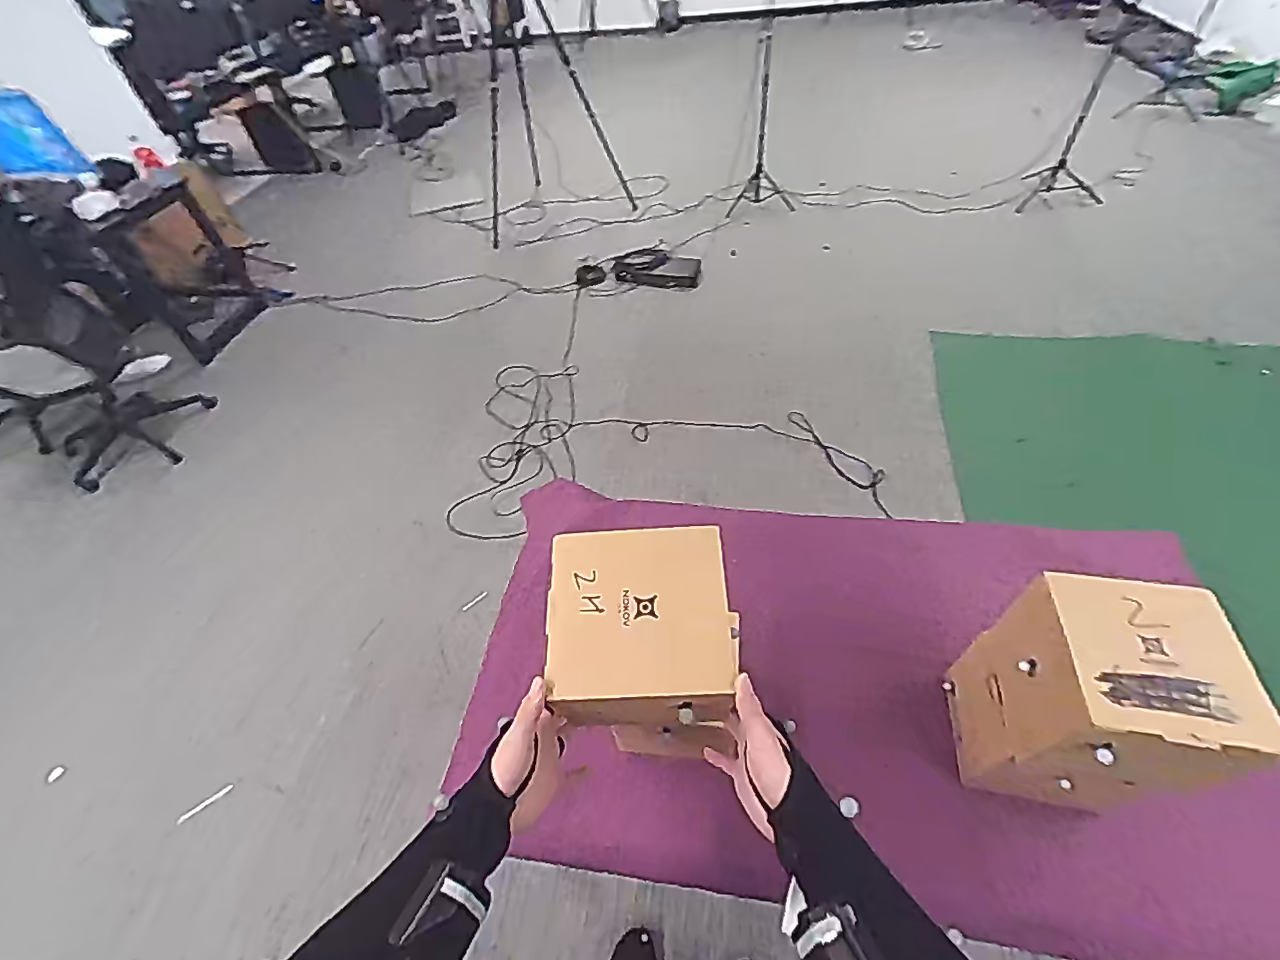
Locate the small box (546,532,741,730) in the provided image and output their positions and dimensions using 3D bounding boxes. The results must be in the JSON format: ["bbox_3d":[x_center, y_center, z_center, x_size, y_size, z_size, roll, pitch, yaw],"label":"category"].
[{"bbox_3d":[0.007,0.169,0.585,0.179,0.176,0.168,-3,57,3],"label":"small box"}]

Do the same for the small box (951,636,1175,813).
[{"bbox_3d":[0.551,0.337,0.743,0.179,0.176,0.168,6,50,11],"label":"small box"}]

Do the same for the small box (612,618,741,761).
[{"bbox_3d":[0.059,0.314,0.819,0.179,0.176,0.168,2,50,9],"label":"small box"}]
